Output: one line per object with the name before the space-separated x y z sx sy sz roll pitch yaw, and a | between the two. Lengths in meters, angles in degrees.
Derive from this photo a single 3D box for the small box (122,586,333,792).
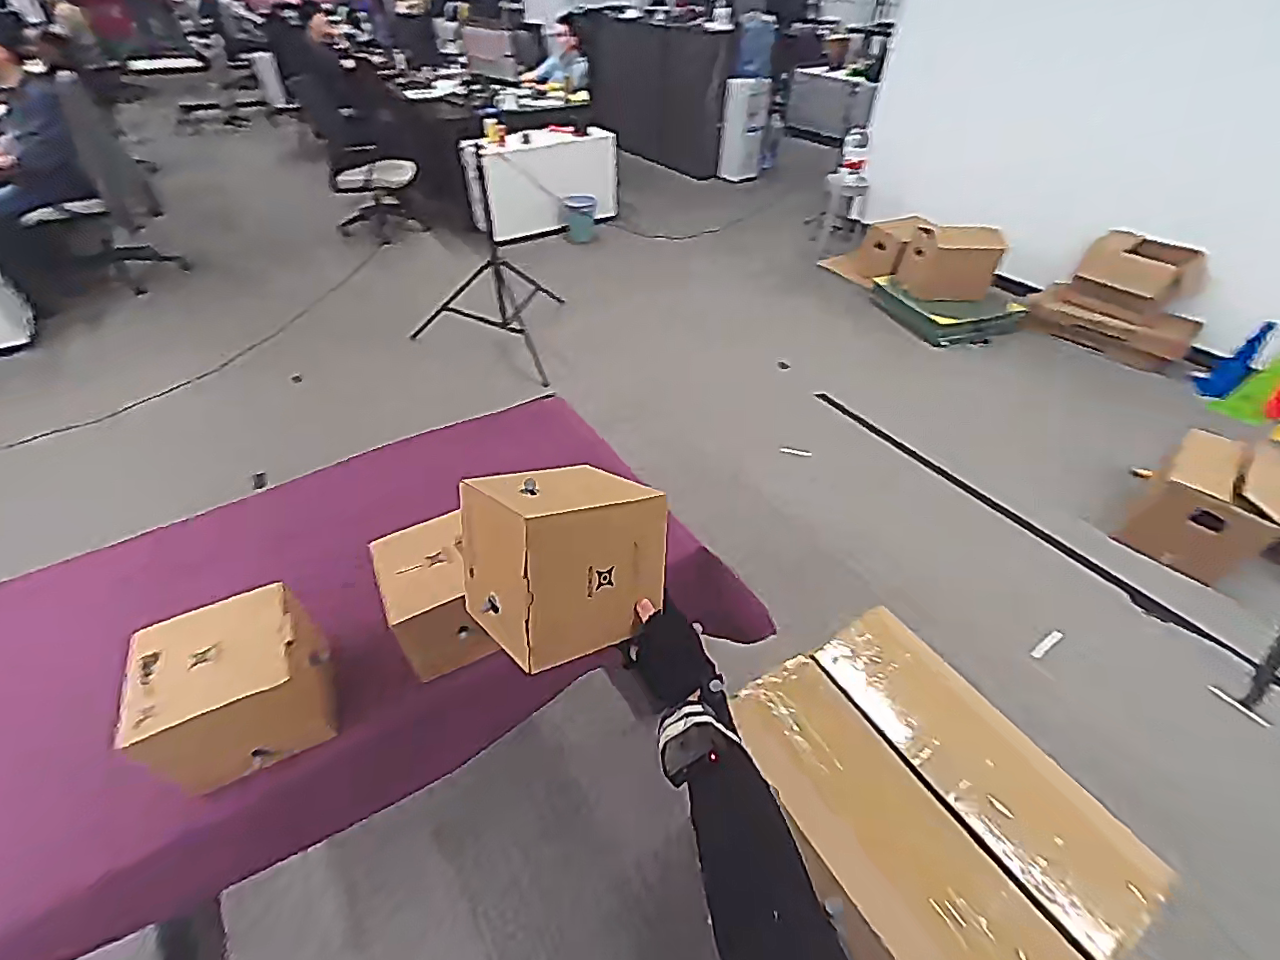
small box | -0.538 0.281 0.734 0.179 0.176 0.168 -19 47 -22

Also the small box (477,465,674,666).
small box | -0.082 0.083 0.632 0.179 0.168 0.176 -8 18 -38

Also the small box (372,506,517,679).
small box | -0.293 0.175 0.849 0.179 0.176 0.168 -21 47 -21
